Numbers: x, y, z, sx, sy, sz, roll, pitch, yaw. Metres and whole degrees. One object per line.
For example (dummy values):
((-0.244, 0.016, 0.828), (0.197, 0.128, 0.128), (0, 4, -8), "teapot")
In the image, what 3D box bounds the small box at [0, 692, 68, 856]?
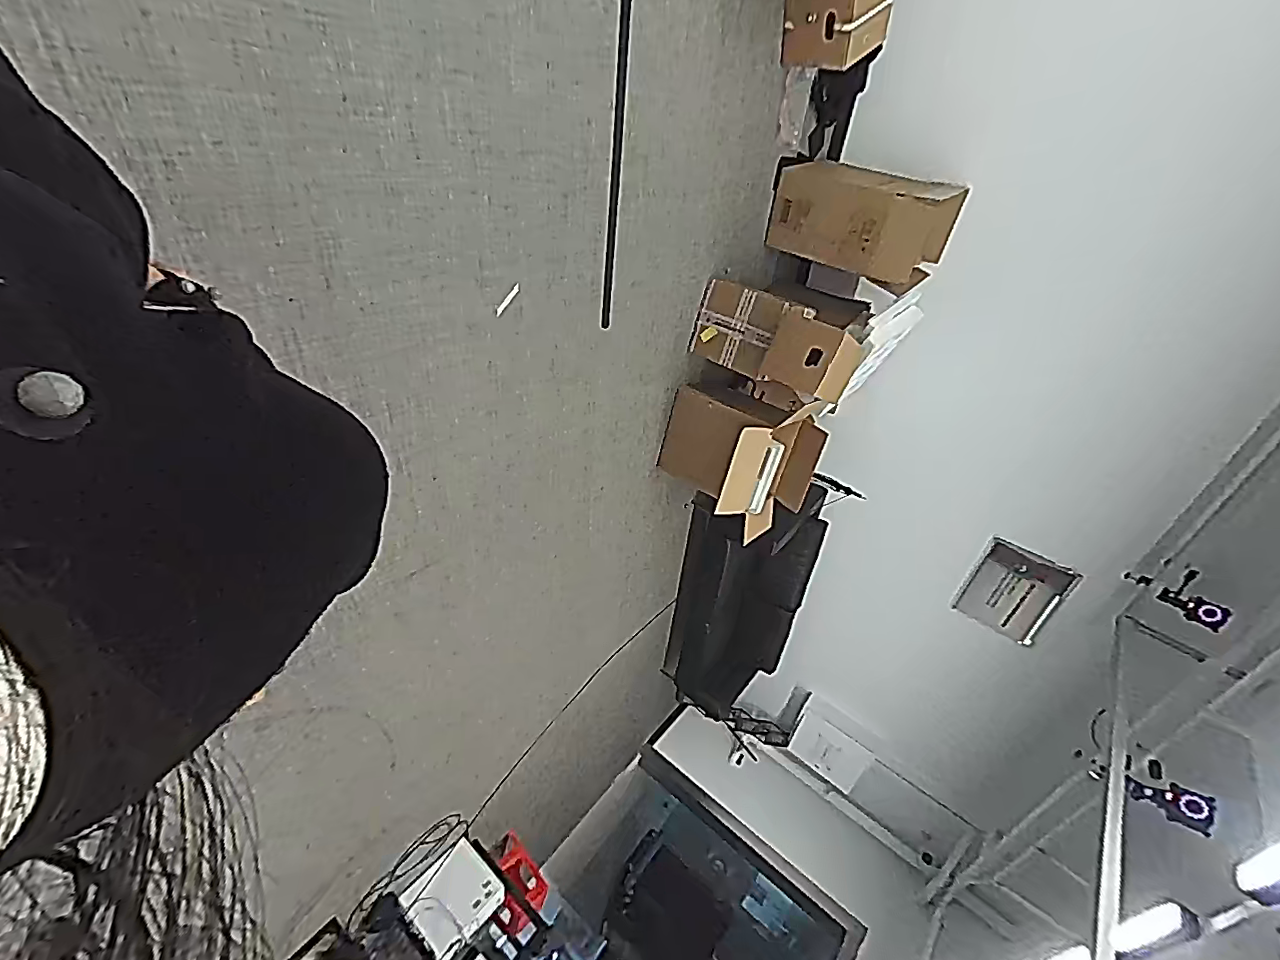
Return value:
((-0.870, 0.375, 0.660), (0.168, 0.176, 0.179), (-31, 140, -44), "small box")
